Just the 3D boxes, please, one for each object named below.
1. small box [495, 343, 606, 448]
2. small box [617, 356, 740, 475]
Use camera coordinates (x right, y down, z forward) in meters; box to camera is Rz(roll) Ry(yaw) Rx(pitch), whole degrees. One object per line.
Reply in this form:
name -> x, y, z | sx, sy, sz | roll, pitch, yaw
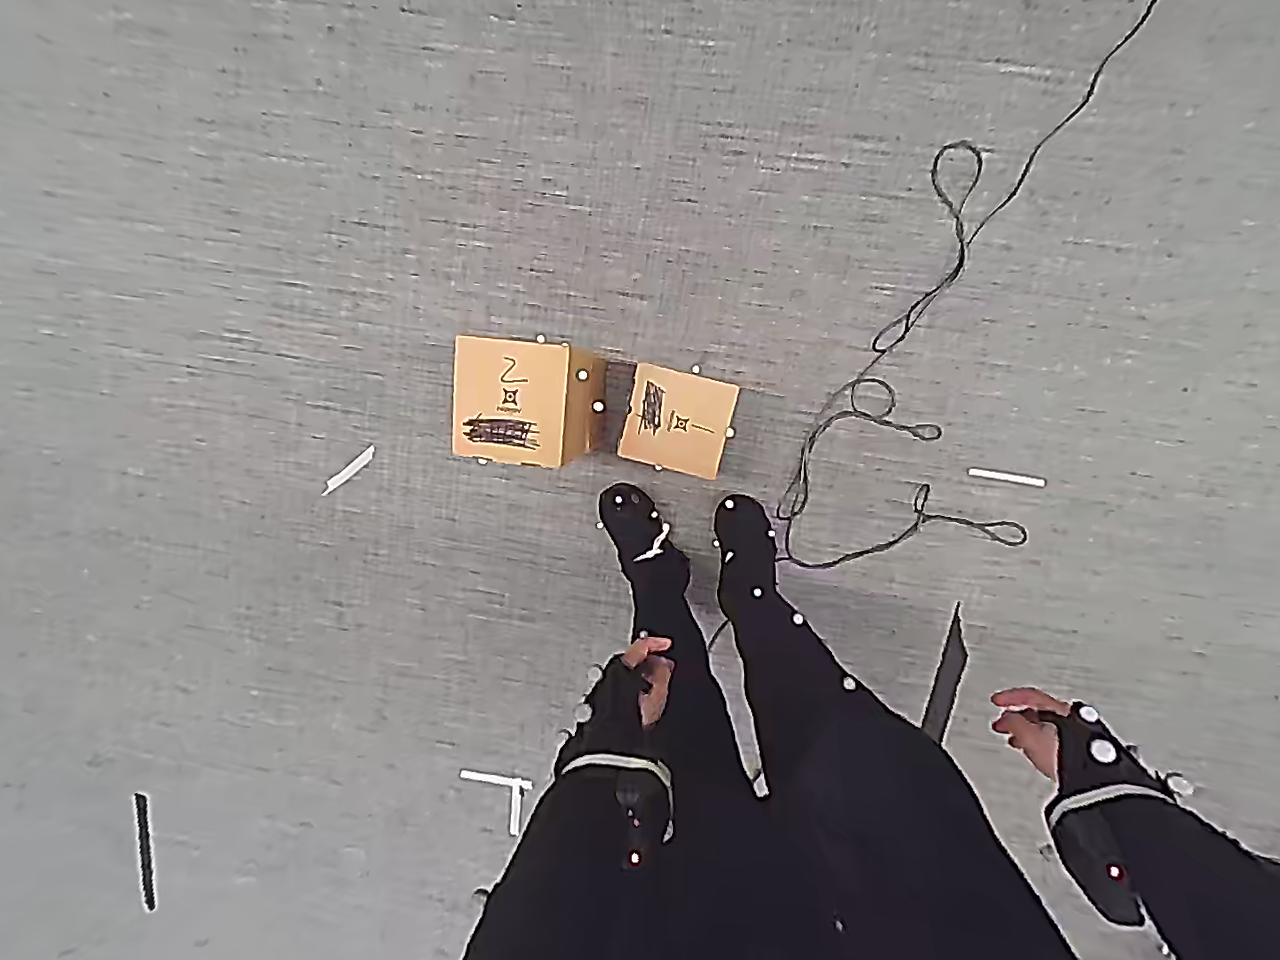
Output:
small box -> -0.159, -0.158, 1.002 | 0.168, 0.176, 0.179 | 2, 102, 6
small box -> 0.070, -0.121, 0.980 | 0.179, 0.176, 0.168 | 15, 103, 3
